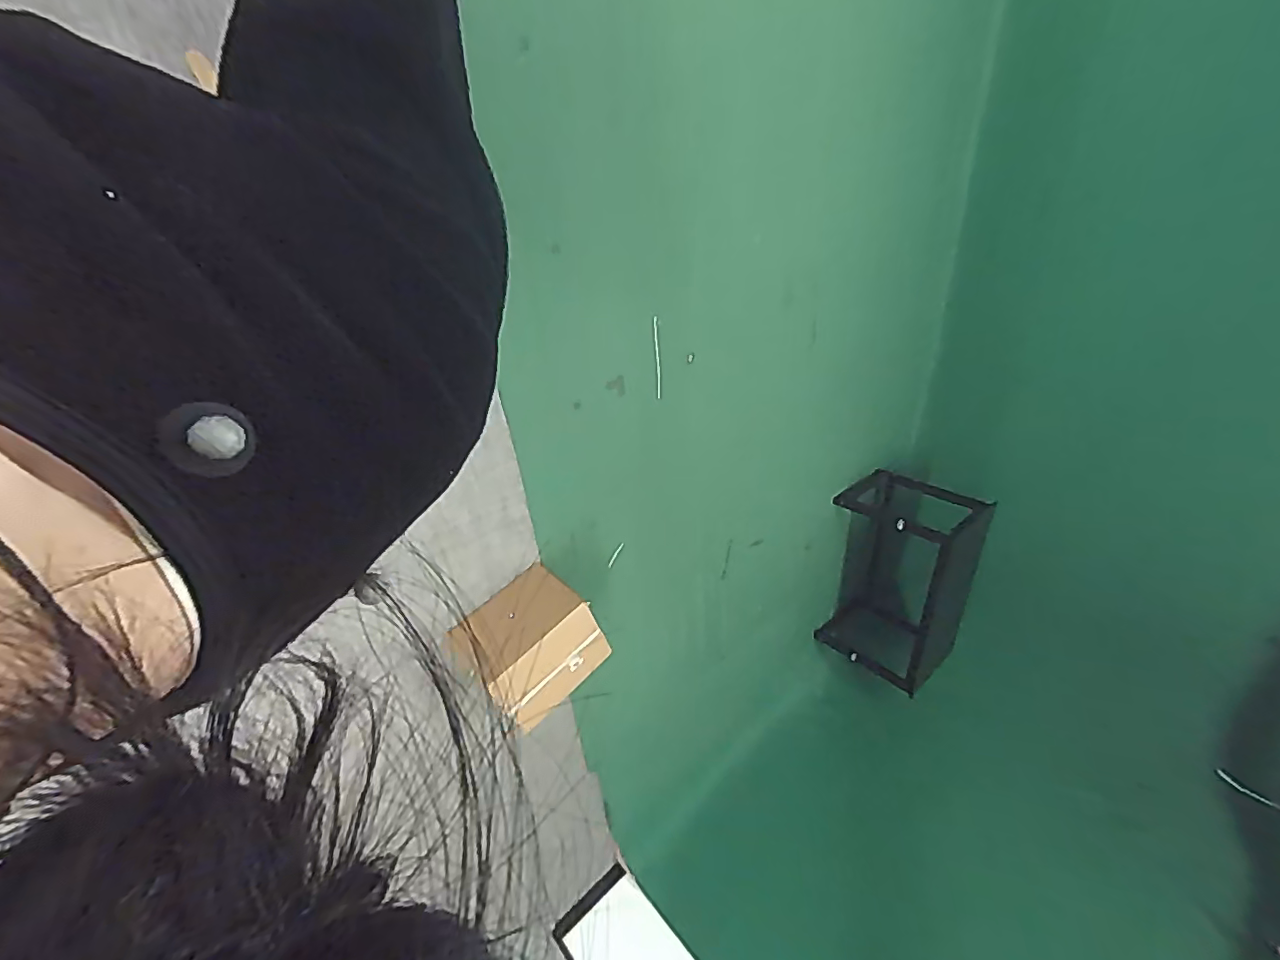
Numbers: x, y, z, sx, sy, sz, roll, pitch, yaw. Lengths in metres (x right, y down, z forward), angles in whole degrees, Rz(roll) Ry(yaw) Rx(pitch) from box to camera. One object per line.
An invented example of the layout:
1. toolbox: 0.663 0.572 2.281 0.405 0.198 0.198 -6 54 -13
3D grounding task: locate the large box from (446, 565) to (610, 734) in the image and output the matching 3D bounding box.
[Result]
1. large box: -0.386 0.579 1.895 0.408 0.320 0.320 -40 133 -25
